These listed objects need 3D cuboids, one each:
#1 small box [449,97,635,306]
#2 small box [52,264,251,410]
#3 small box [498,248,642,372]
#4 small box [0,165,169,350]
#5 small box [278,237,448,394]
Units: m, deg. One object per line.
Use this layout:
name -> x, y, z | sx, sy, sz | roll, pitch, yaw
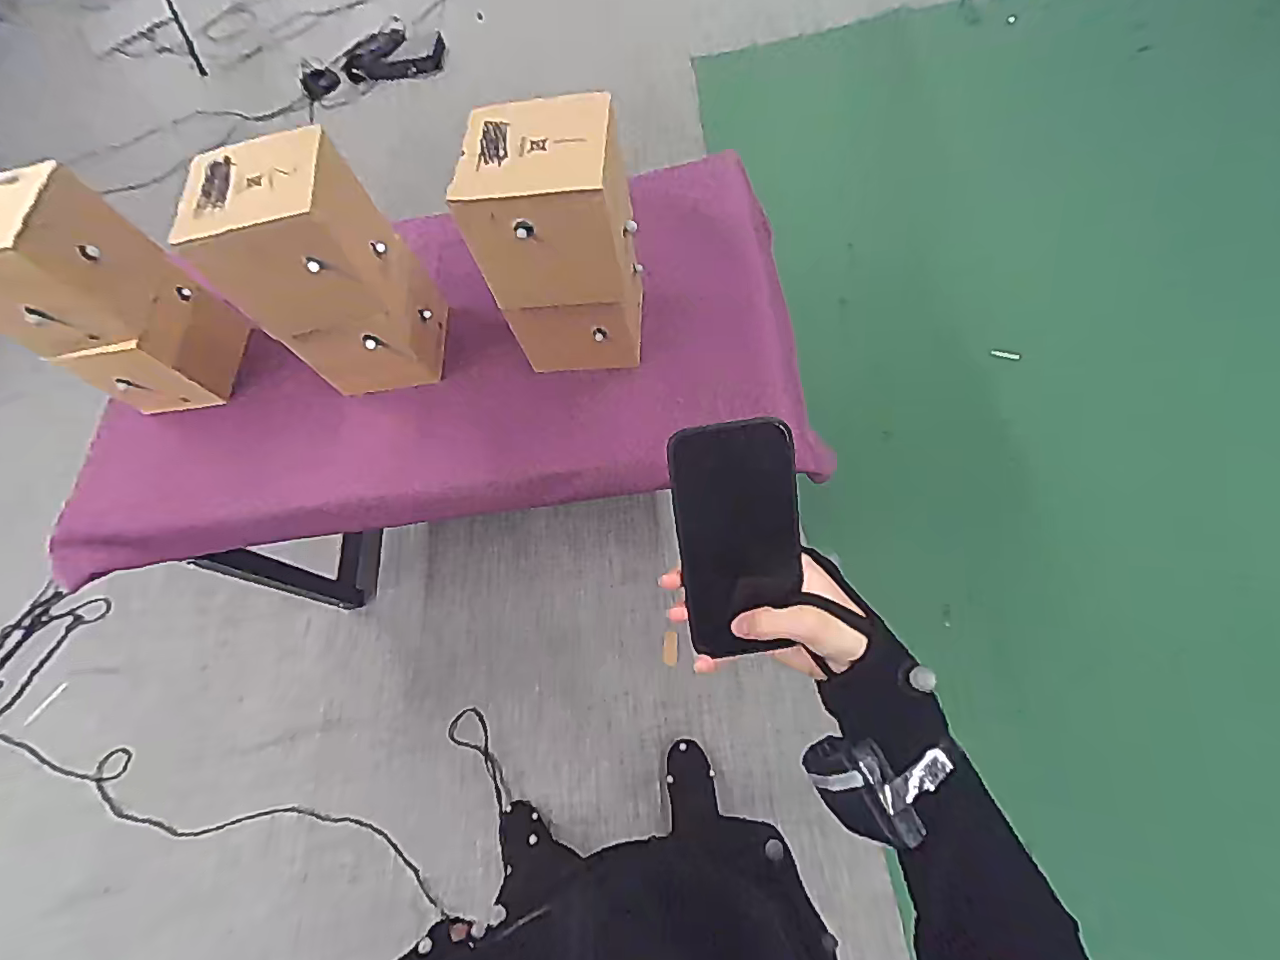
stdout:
small box -> -0.109, -0.338, 0.682 | 0.179, 0.176, 0.168 | -1, 65, 8
small box -> -0.819, -0.234, 0.929 | 0.168, 0.176, 0.179 | -6, 65, 6
small box -> -0.094, -0.283, 0.836 | 0.179, 0.176, 0.168 | -1, 65, 9
small box -> -0.843, -0.309, 0.785 | 0.168, 0.176, 0.179 | -10, 65, 4
small box -> -0.432, -0.259, 0.877 | 0.179, 0.176, 0.168 | -6, 65, 6
